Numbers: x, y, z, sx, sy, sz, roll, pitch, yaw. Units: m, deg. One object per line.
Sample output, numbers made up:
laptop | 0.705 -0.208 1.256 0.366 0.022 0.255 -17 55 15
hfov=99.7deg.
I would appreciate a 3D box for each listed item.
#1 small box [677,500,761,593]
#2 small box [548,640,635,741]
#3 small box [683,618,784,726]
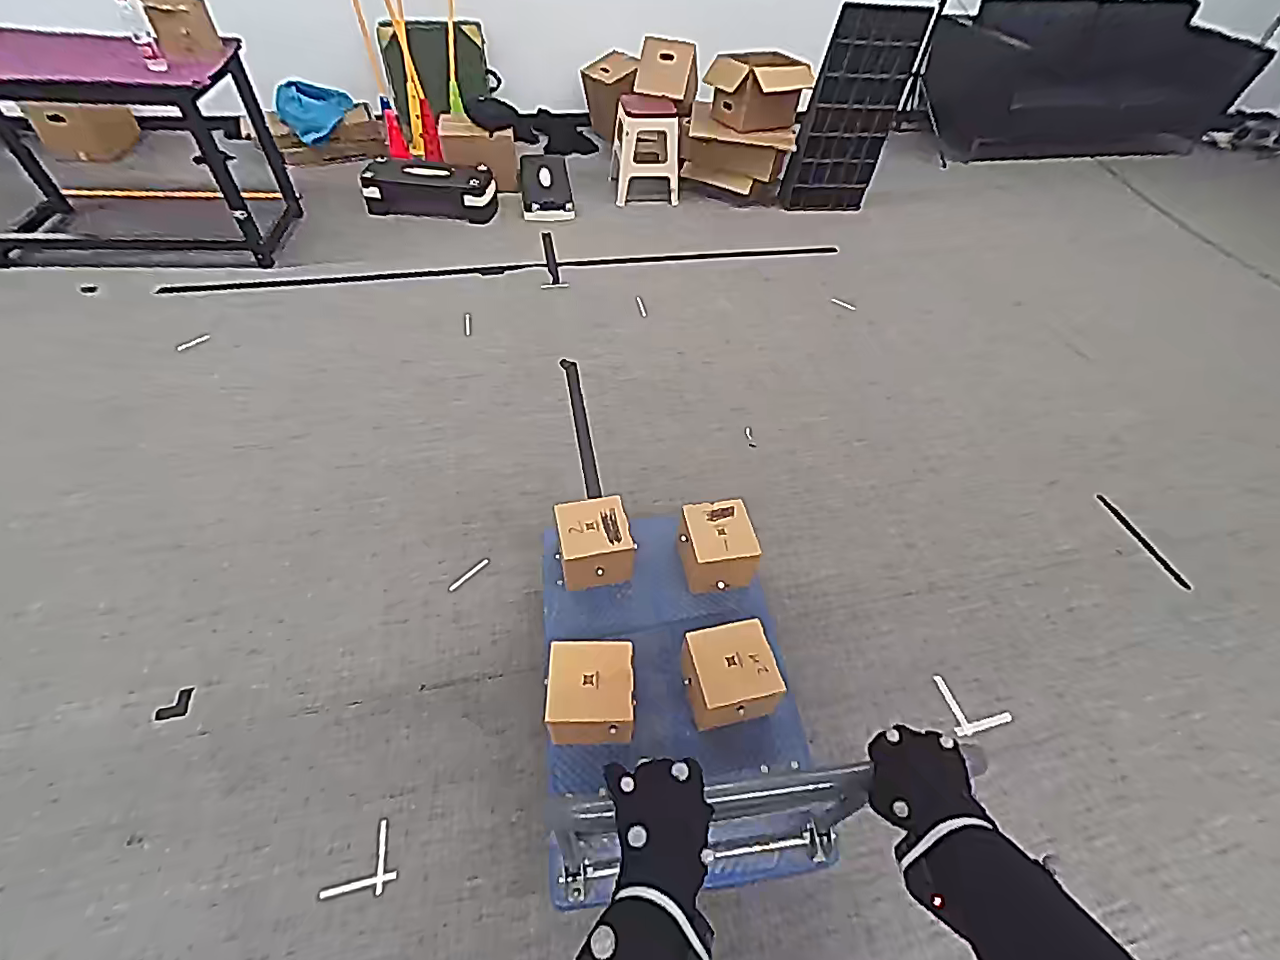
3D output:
small box | 0.201 0.176 1.437 0.168 0.176 0.179 -7 52 -9
small box | -0.103 0.463 1.184 0.179 0.176 0.168 1 51 -5
small box | 0.199 0.438 1.223 0.179 0.176 0.168 -8 52 -10
